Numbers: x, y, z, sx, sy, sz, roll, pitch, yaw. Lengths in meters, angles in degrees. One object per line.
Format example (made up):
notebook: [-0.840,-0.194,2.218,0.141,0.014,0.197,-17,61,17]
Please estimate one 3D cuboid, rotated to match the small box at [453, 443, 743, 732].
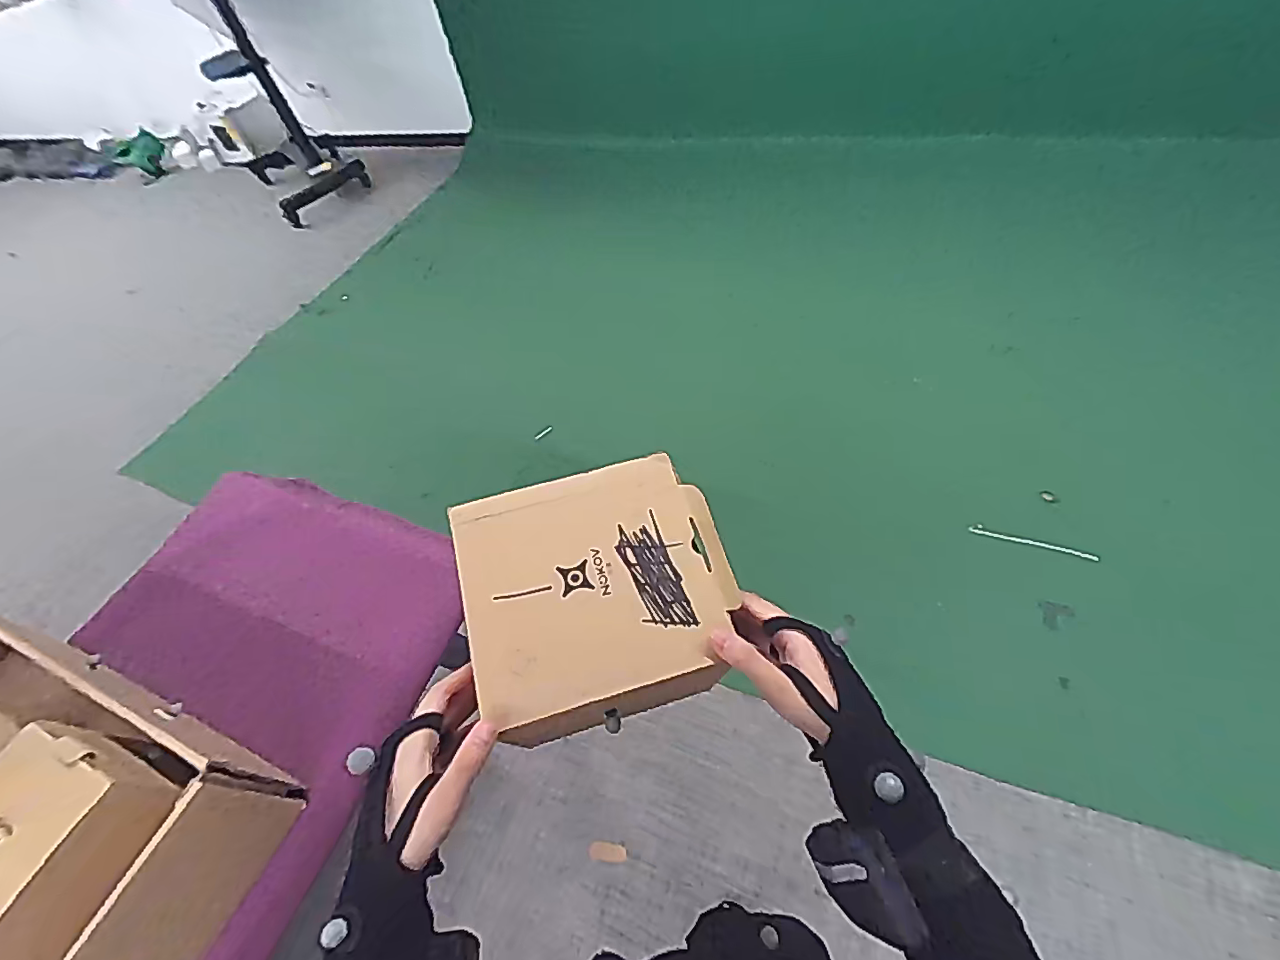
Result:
small box: [-0.036,0.097,0.452,0.179,0.176,0.168,-15,62,-8]
